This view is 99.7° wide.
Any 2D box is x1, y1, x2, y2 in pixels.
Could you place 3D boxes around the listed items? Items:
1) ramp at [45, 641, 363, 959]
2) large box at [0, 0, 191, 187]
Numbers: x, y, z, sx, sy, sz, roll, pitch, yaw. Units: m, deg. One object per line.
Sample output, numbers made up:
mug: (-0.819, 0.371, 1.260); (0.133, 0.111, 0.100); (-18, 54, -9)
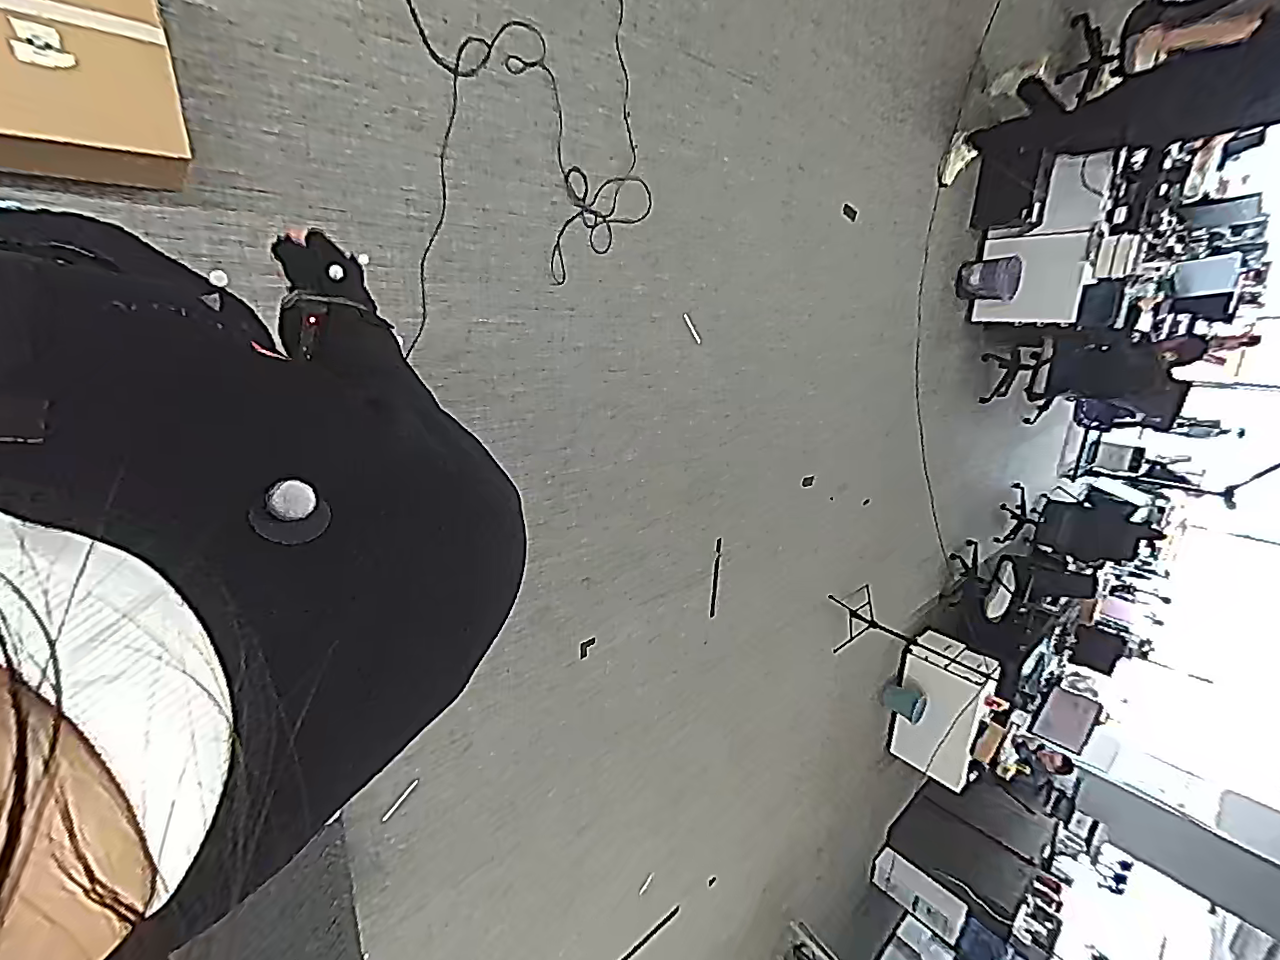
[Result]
ramp: (-0.997, 0.937, 1.312); (0.509, 0.206, 0.991); (-11, 110, -38)
large box: (-0.946, -0.639, 0.776); (0.408, 0.320, 0.320); (-15, 113, -39)
